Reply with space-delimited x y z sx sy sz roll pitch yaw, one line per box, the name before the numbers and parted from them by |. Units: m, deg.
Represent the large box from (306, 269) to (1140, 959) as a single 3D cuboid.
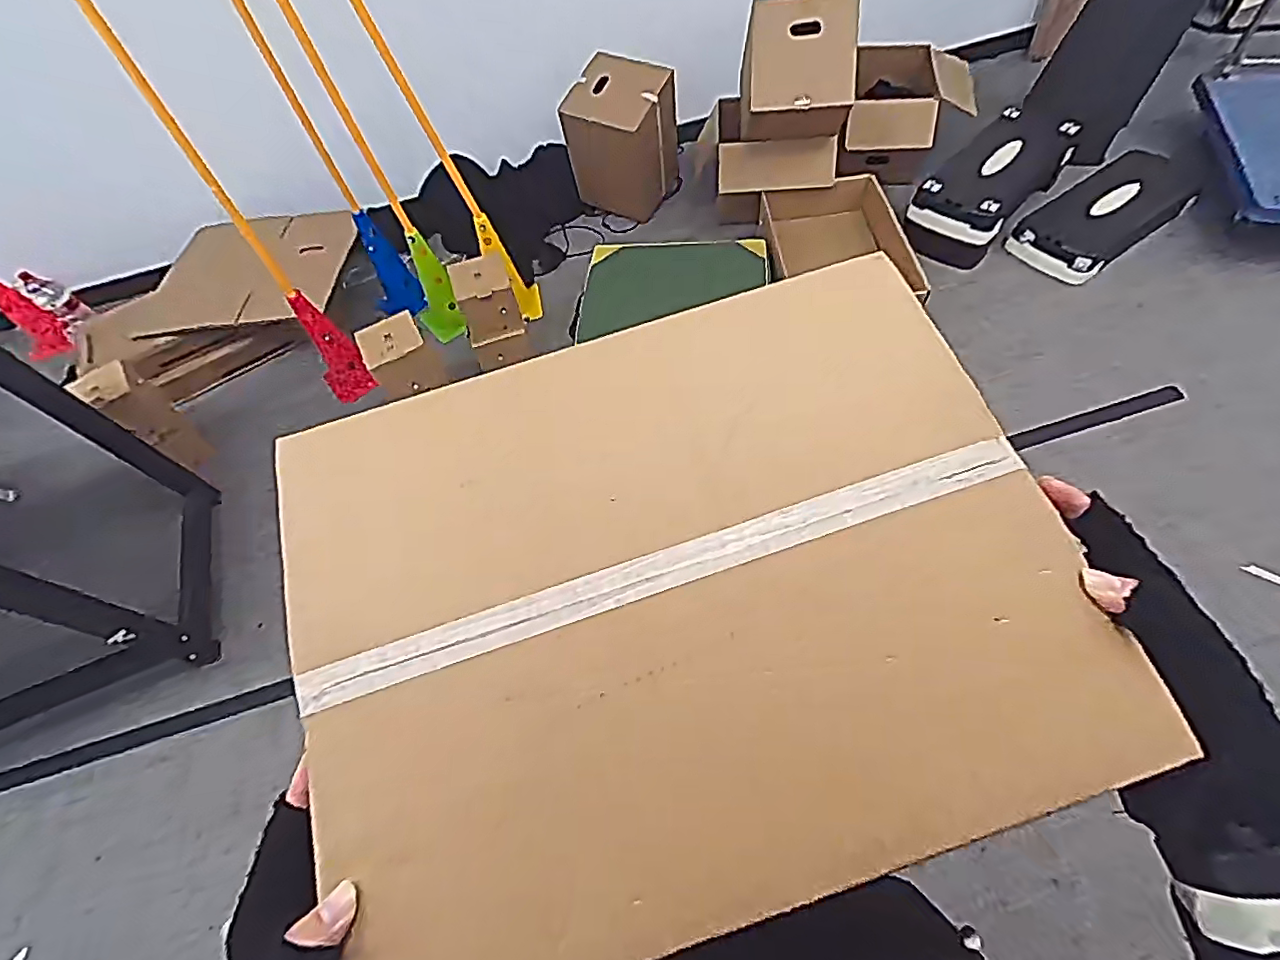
large box | 0.025 0.104 0.448 0.408 0.320 0.320 -19 70 -3
